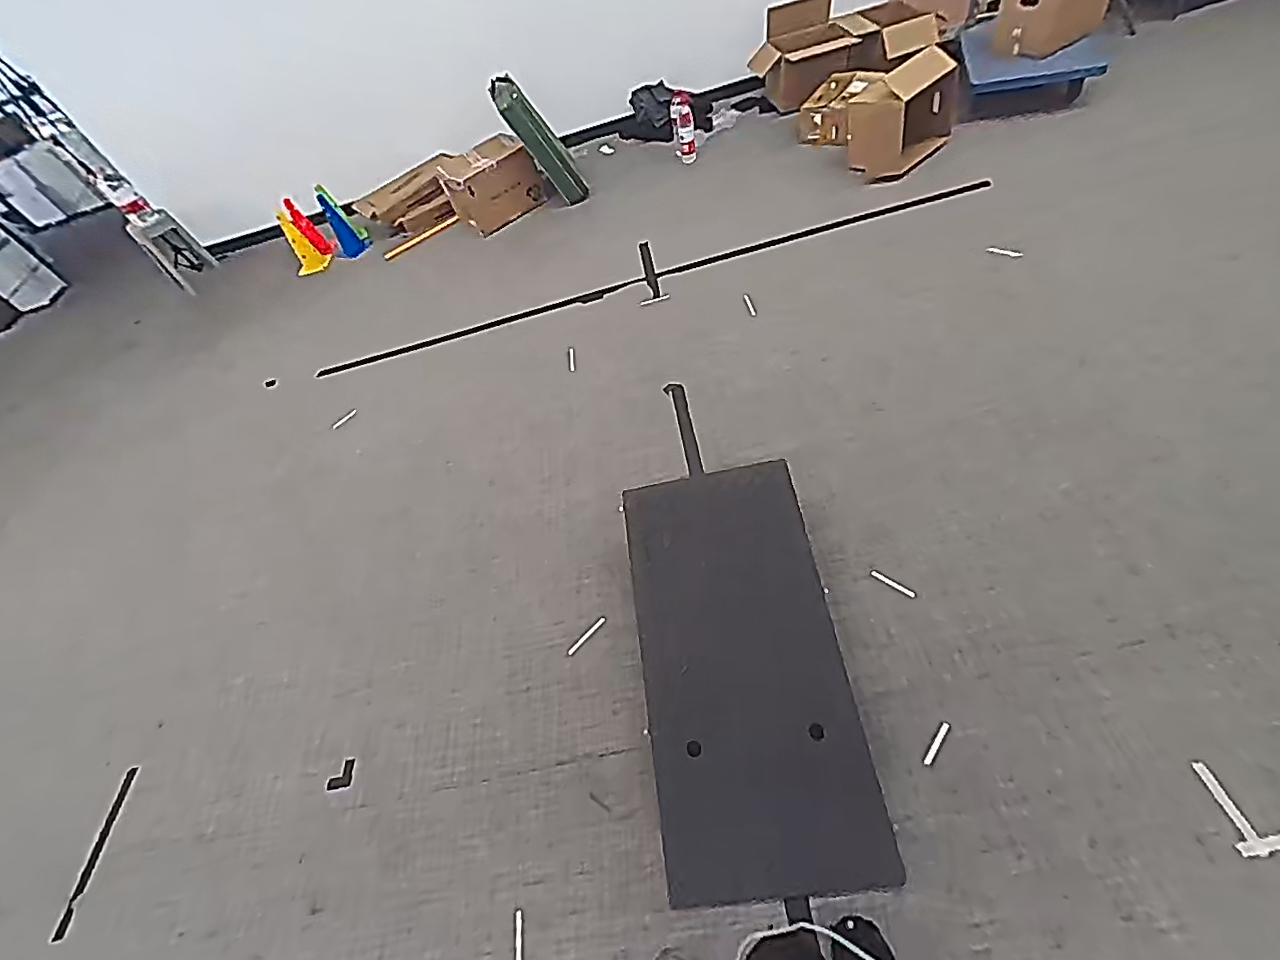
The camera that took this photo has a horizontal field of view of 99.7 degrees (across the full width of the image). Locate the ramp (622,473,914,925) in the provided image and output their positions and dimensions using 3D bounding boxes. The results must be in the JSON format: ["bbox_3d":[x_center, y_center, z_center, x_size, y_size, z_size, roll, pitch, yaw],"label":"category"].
[{"bbox_3d":[0.254,0.459,1.361,0.509,0.206,0.991,-14,50,5],"label":"ramp"}]
